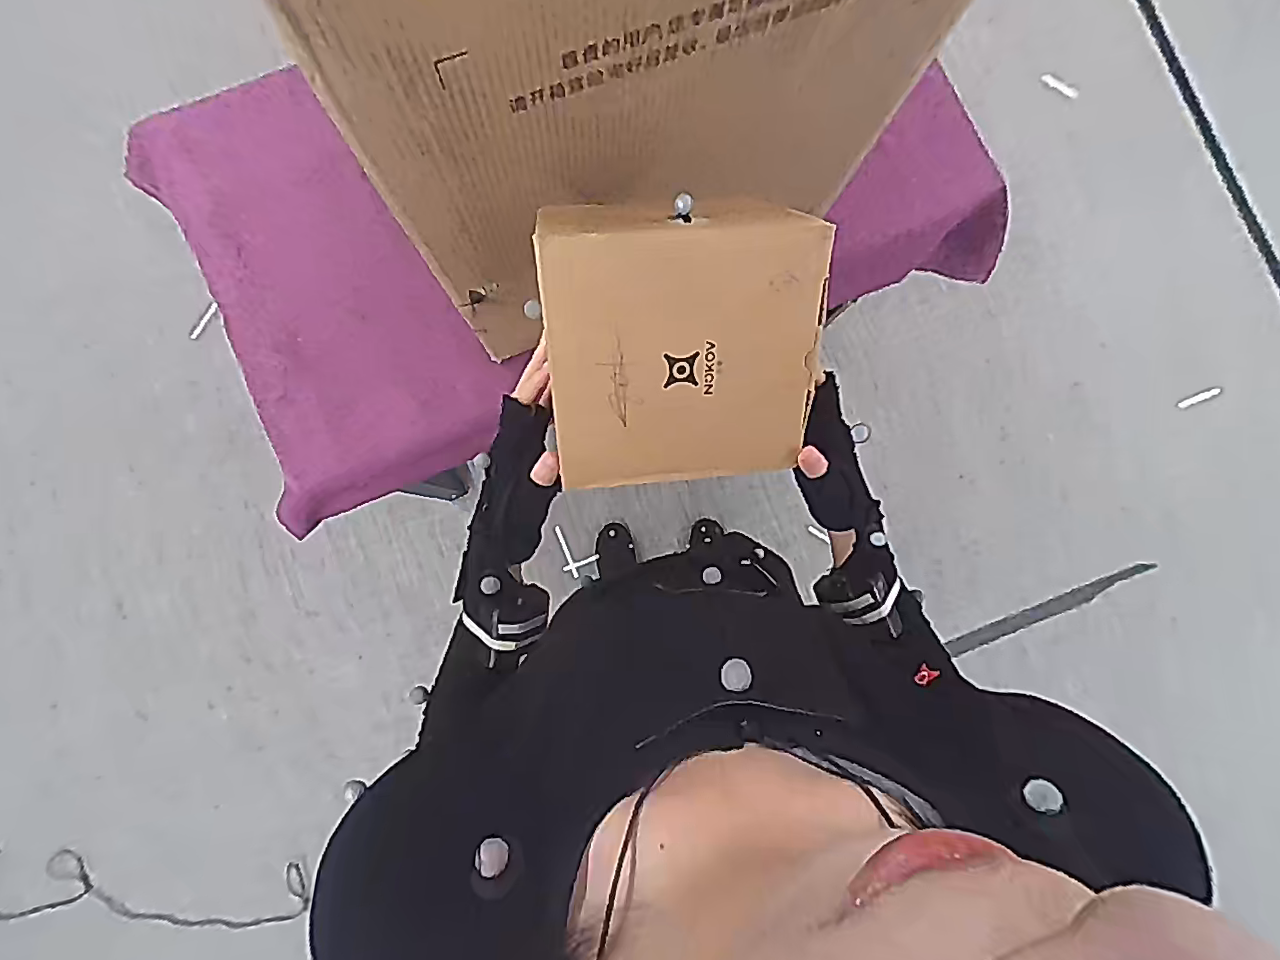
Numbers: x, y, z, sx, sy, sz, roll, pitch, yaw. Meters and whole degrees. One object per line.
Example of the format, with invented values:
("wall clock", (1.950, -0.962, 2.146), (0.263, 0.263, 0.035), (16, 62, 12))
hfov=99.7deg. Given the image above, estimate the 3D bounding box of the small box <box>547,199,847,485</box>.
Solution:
("small box", (0.024, -0.114, 0.408), (0.179, 0.176, 0.168), (-5, 120, -6))
